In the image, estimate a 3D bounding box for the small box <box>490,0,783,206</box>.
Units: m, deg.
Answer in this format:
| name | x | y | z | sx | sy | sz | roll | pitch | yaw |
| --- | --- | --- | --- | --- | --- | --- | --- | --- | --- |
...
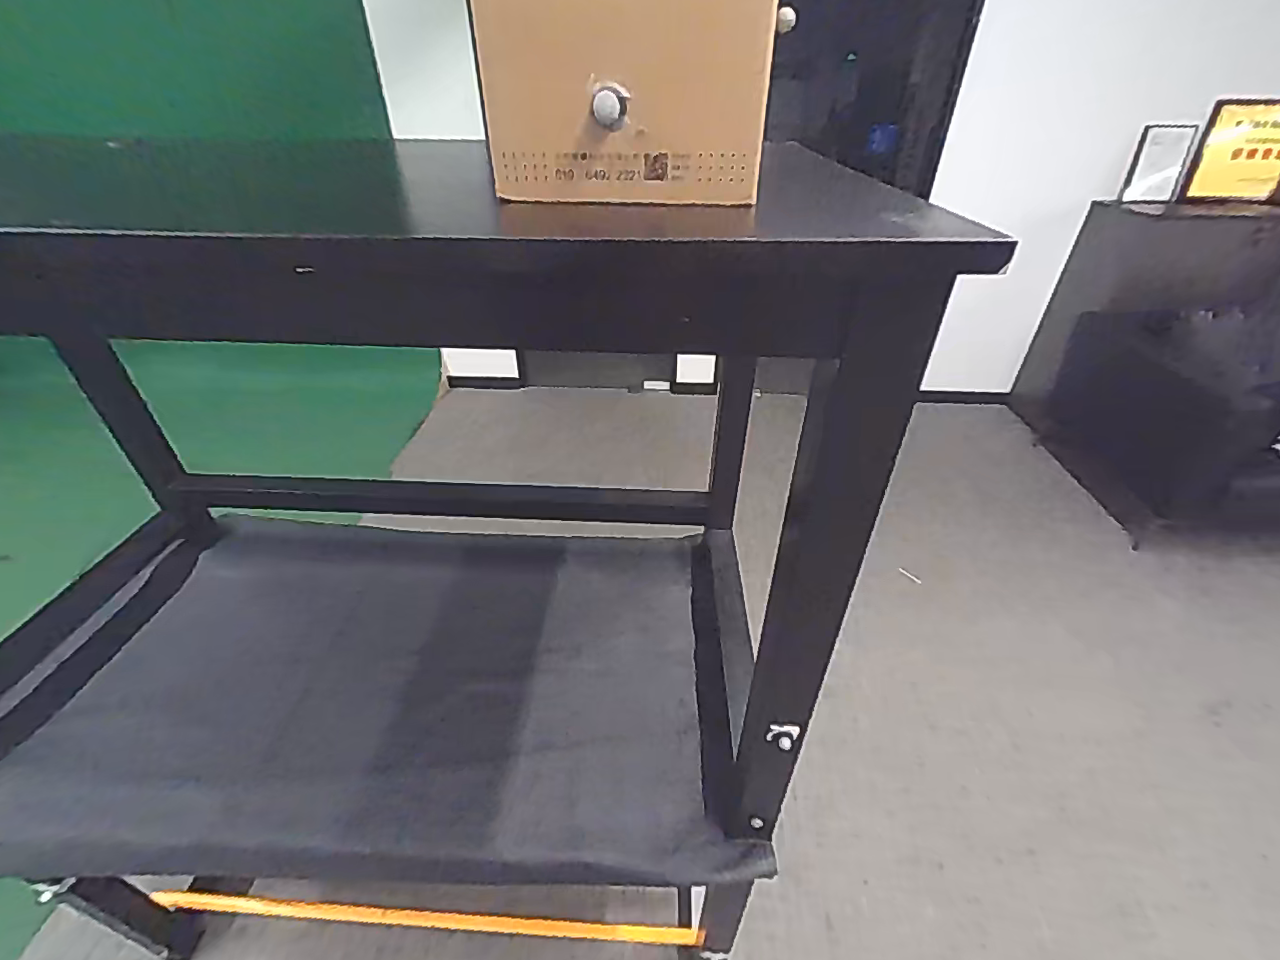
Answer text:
| name | x | y | z | sx | sy | sz | roll | pitch | yaw |
| --- | --- | --- | --- | --- | --- | --- | --- | --- | --- |
| small box | 0.005 | -0.291 | 0.358 | 0.168 | 0.176 | 0.179 | 5 | 37 | 7 |
